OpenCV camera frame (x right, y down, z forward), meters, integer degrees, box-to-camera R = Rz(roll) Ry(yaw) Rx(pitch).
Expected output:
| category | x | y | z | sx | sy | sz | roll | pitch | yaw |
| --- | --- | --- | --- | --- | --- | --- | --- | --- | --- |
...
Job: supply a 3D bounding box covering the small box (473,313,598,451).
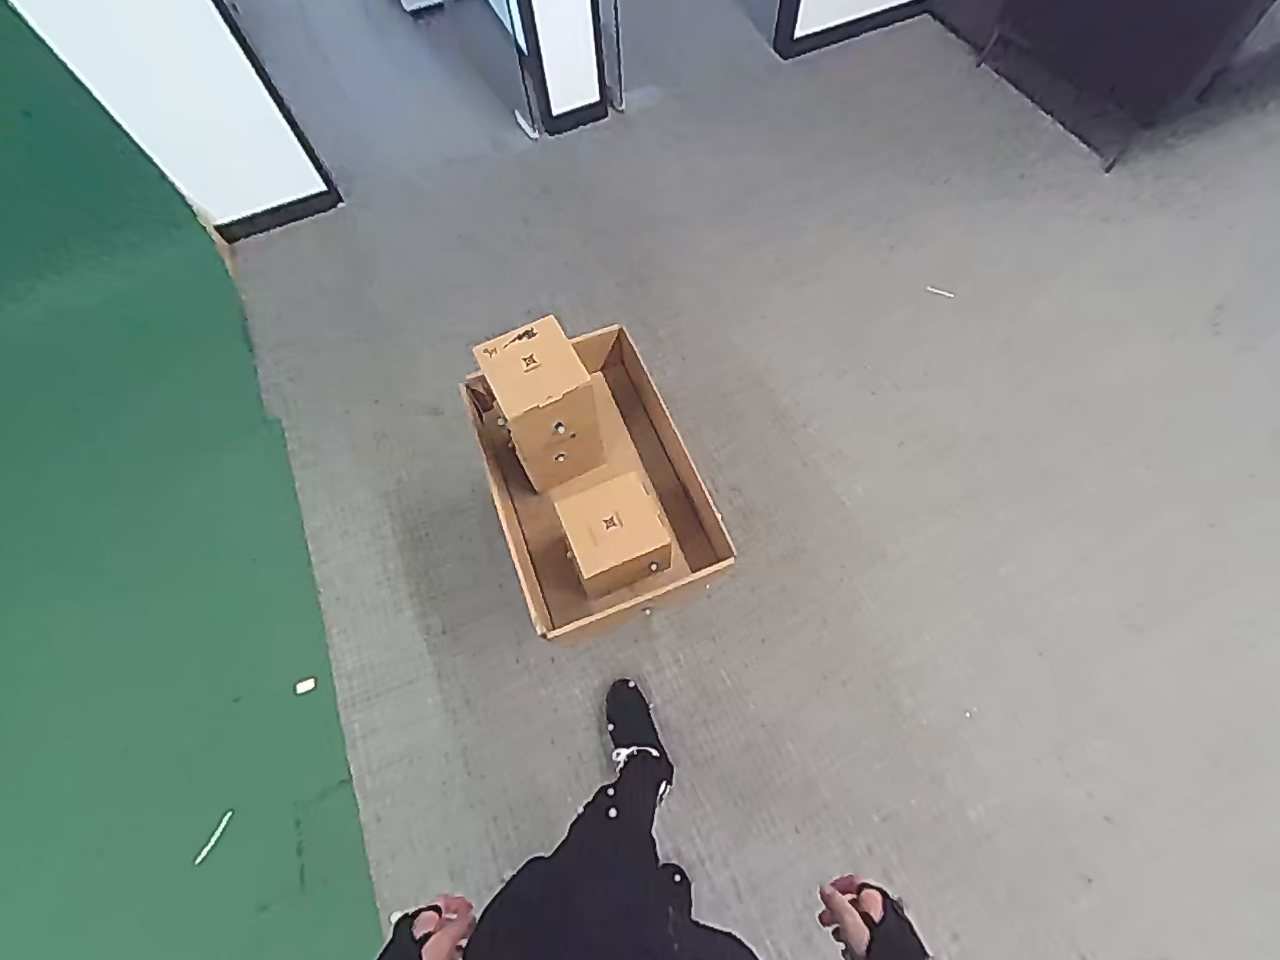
| category | x | y | z | sx | sy | sz | roll | pitch | yaw |
| --- | --- | --- | --- | --- | --- | --- | --- | --- | --- |
| small box | -0.191 | -0.176 | 1.034 | 0.168 | 0.176 | 0.179 | -26 | 69 | -9 |
